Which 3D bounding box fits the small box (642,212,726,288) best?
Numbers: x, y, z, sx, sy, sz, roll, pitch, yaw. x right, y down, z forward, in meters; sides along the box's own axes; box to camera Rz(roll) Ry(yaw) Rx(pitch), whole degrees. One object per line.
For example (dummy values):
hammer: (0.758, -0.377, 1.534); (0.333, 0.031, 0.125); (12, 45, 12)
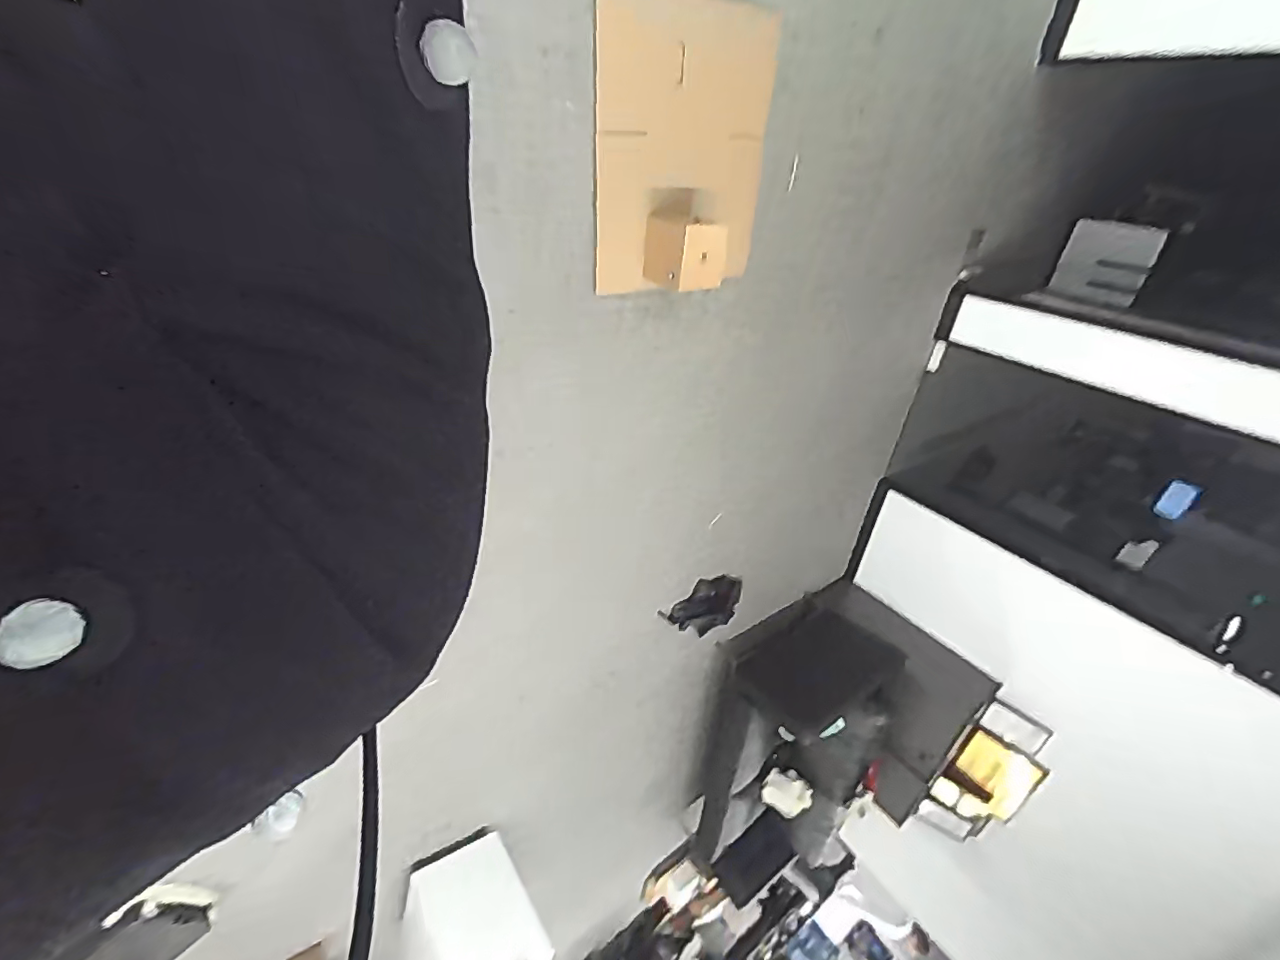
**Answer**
small box: (0.120, -0.666, 1.552); (0.168, 0.176, 0.179); (-19, 131, -32)
